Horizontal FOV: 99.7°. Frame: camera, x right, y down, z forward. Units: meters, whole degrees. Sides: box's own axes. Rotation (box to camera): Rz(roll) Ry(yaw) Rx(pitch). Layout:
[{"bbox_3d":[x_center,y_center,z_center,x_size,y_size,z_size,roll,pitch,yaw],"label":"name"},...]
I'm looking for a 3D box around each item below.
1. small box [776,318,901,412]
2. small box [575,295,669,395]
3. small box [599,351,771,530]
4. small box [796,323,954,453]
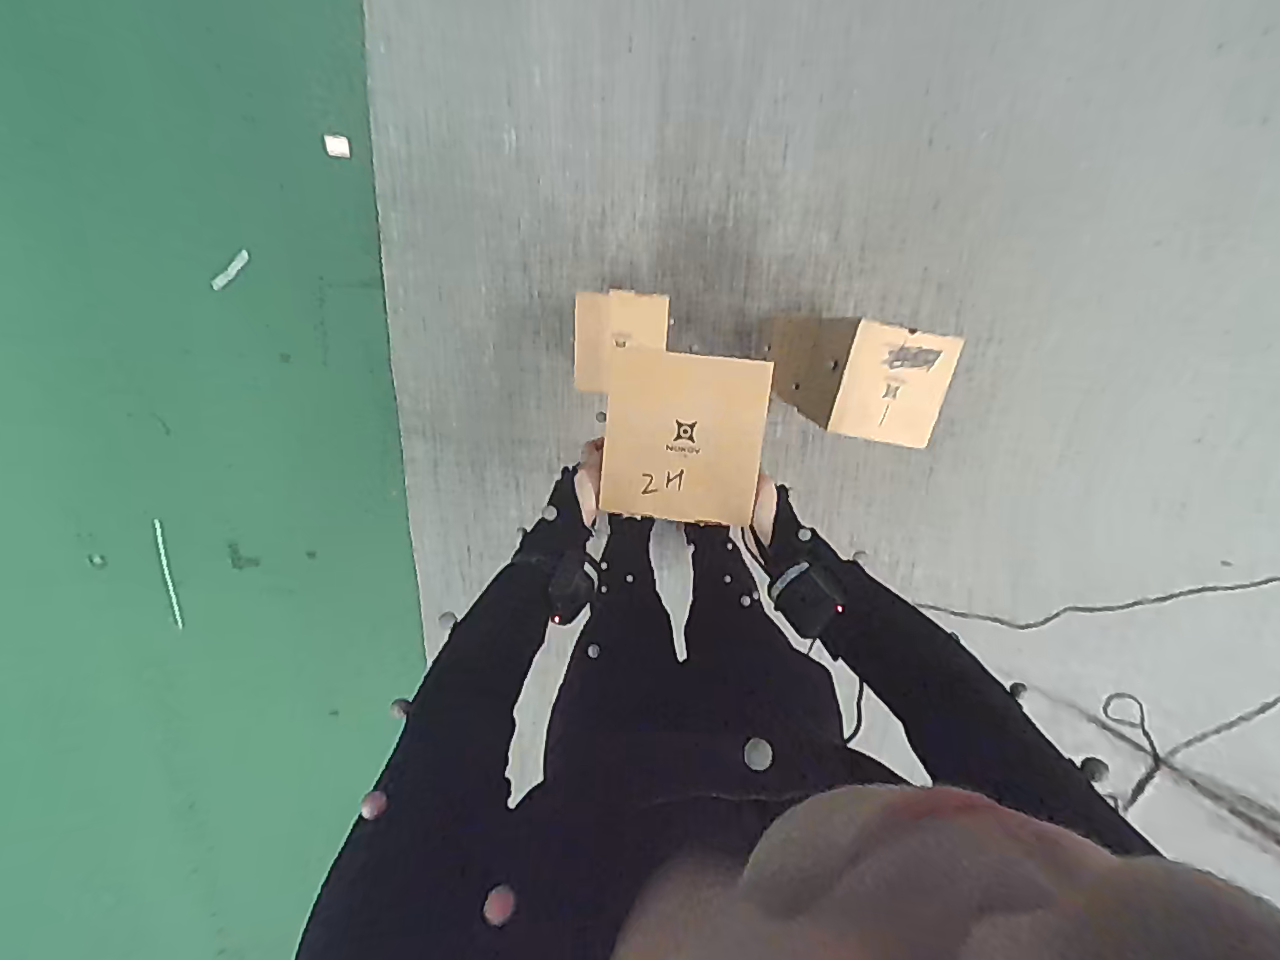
[{"bbox_3d":[0.382,-0.218,1.069,0.168,0.176,0.179,9,107,-3],"label":"small box"},{"bbox_3d":[-0.034,-0.262,1.052,0.168,0.176,0.179,3,107,0],"label":"small box"},{"bbox_3d":[0.047,-0.055,0.646,0.168,0.176,0.179,6,103,1],"label":"small box"},{"bbox_3d":[0.382,-0.163,0.914,0.168,0.176,0.179,10,108,-4],"label":"small box"}]
